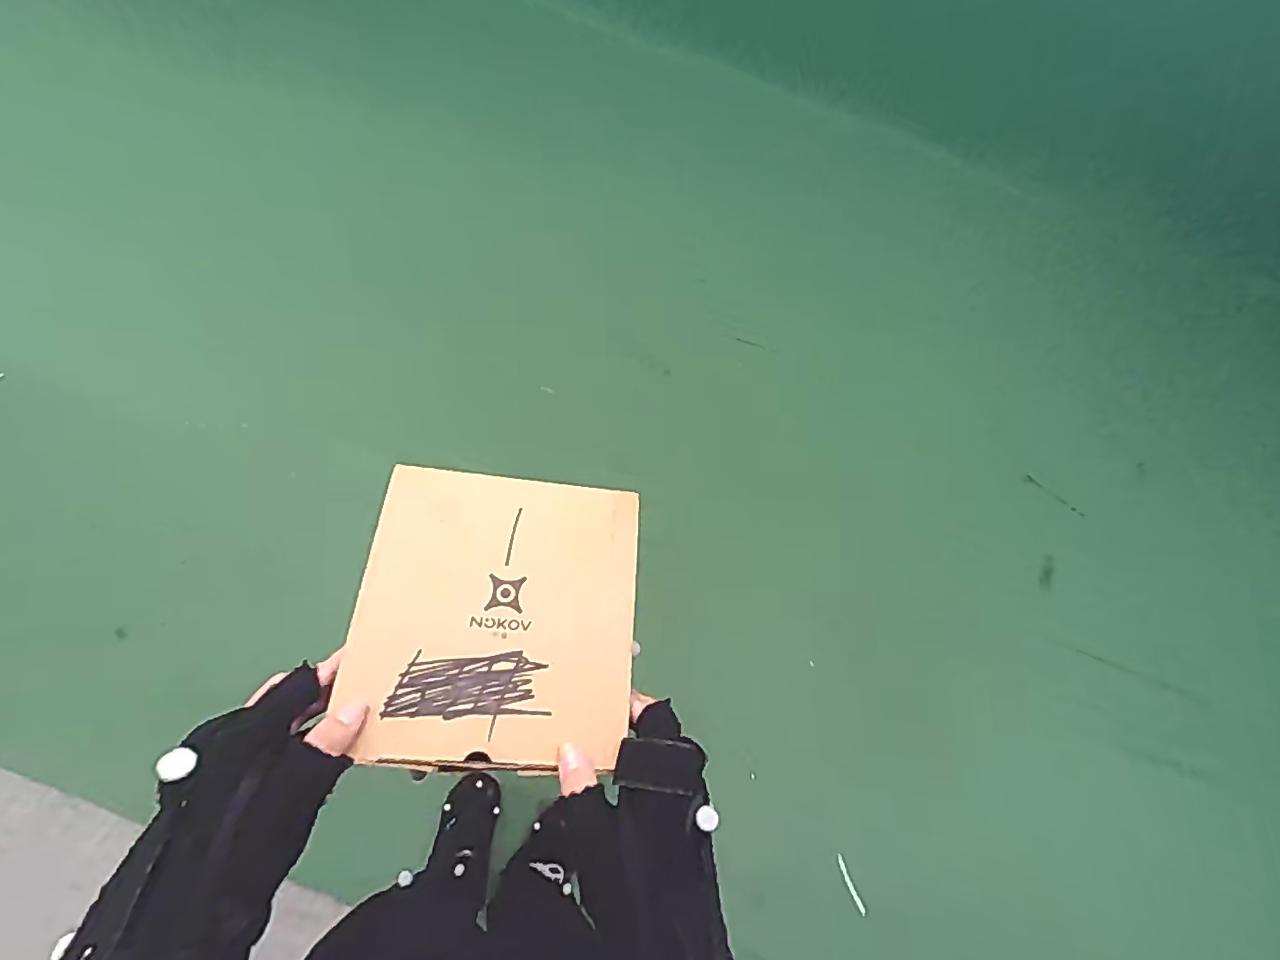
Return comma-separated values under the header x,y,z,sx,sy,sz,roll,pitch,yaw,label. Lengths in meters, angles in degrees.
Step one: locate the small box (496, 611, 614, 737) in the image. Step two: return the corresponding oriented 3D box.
x,y,z,sx,sy,sz,roll,pitch,yaw,label
-0.165,0.383,1.055,0.168,0.176,0.179,21,63,2,small box
